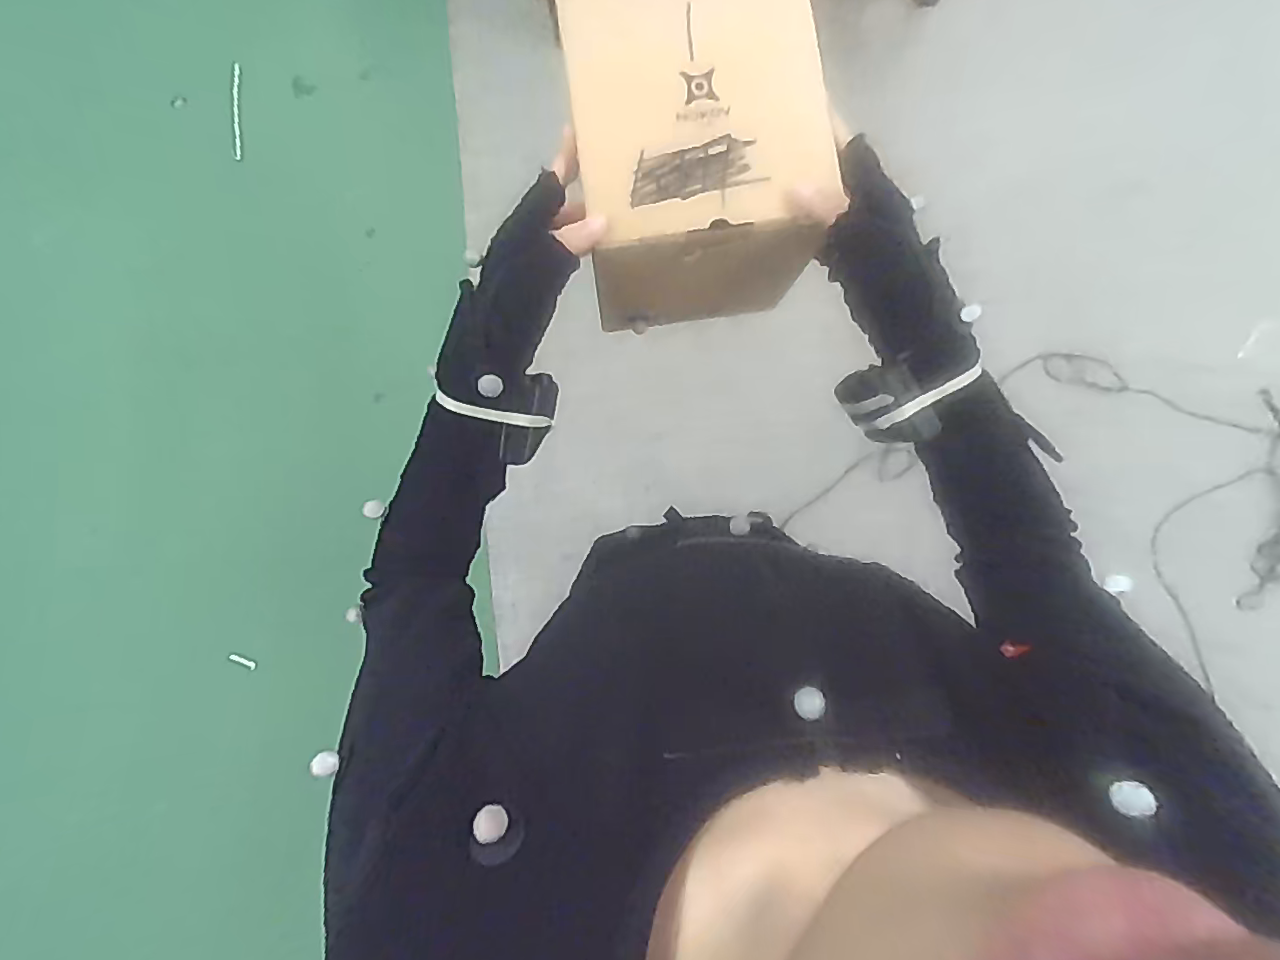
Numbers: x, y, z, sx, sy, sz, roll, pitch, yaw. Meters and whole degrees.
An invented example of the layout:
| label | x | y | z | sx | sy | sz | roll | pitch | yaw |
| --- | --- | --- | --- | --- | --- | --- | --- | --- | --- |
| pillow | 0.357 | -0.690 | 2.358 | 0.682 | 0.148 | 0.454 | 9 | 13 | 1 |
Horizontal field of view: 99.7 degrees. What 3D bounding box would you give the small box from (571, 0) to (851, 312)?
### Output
| label | x | y | z | sx | sy | sz | roll | pitch | yaw |
| --- | --- | --- | --- | --- | --- | --- | --- | --- | --- |
| small box | 0.044 | -0.247 | 0.430 | 0.168 | 0.176 | 0.179 | -8 | 86 | -2 |
